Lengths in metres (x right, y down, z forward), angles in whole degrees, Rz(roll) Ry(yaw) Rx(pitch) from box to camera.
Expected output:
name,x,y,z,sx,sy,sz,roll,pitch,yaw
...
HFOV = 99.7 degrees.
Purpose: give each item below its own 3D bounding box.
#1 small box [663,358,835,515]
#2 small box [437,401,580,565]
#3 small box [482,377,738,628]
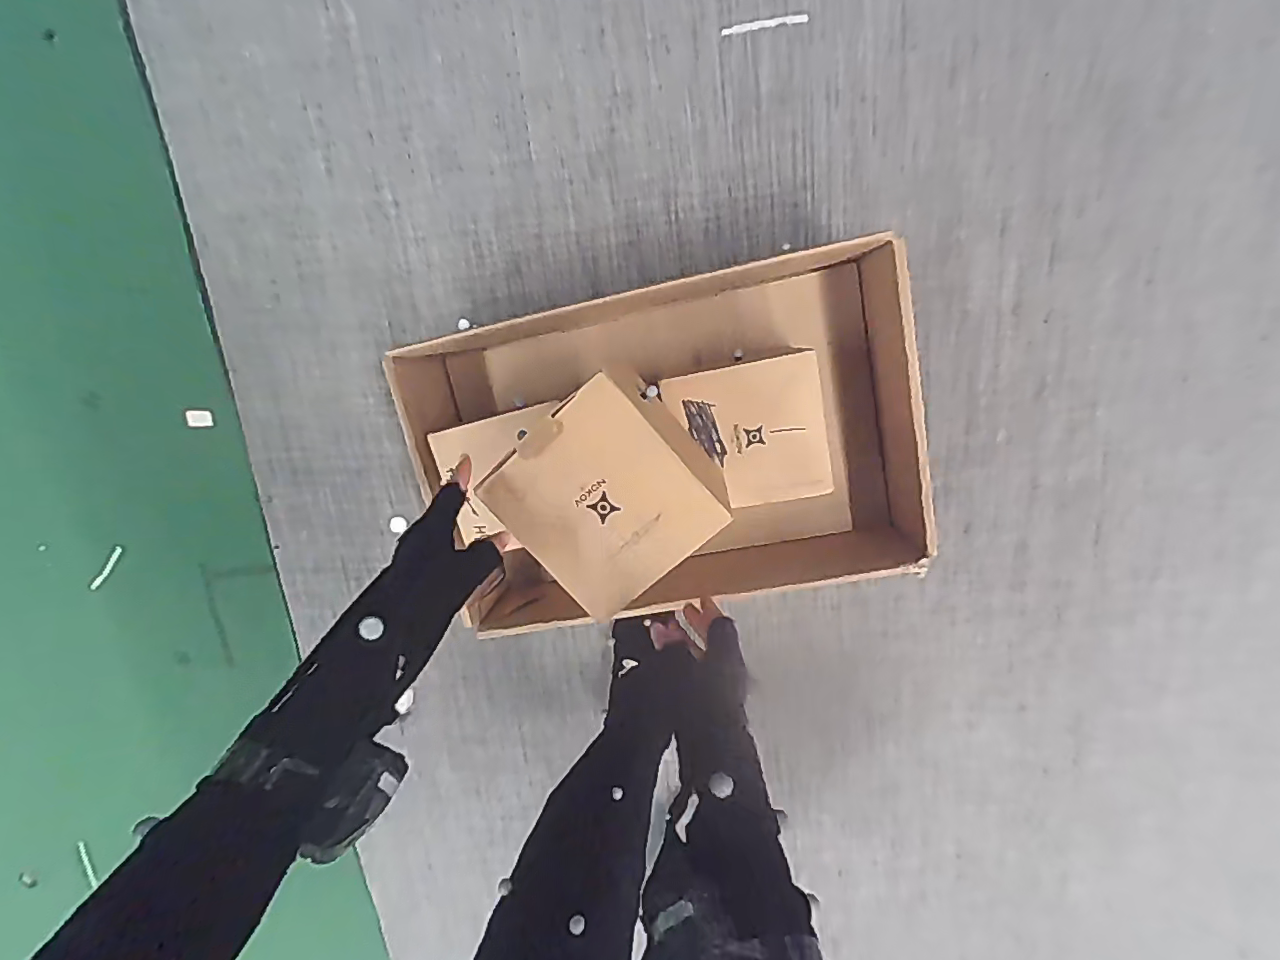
name,x,y,z,sx,sy,sz,roll,pitch,yaw
small box,0.135,-0.058,0.691,0.179,0.176,0.168,-10,102,9
small box,-0.138,-0.006,0.735,0.179,0.176,0.168,-14,101,7
small box,-0.022,0.009,0.560,0.168,0.176,0.179,-41,97,14
